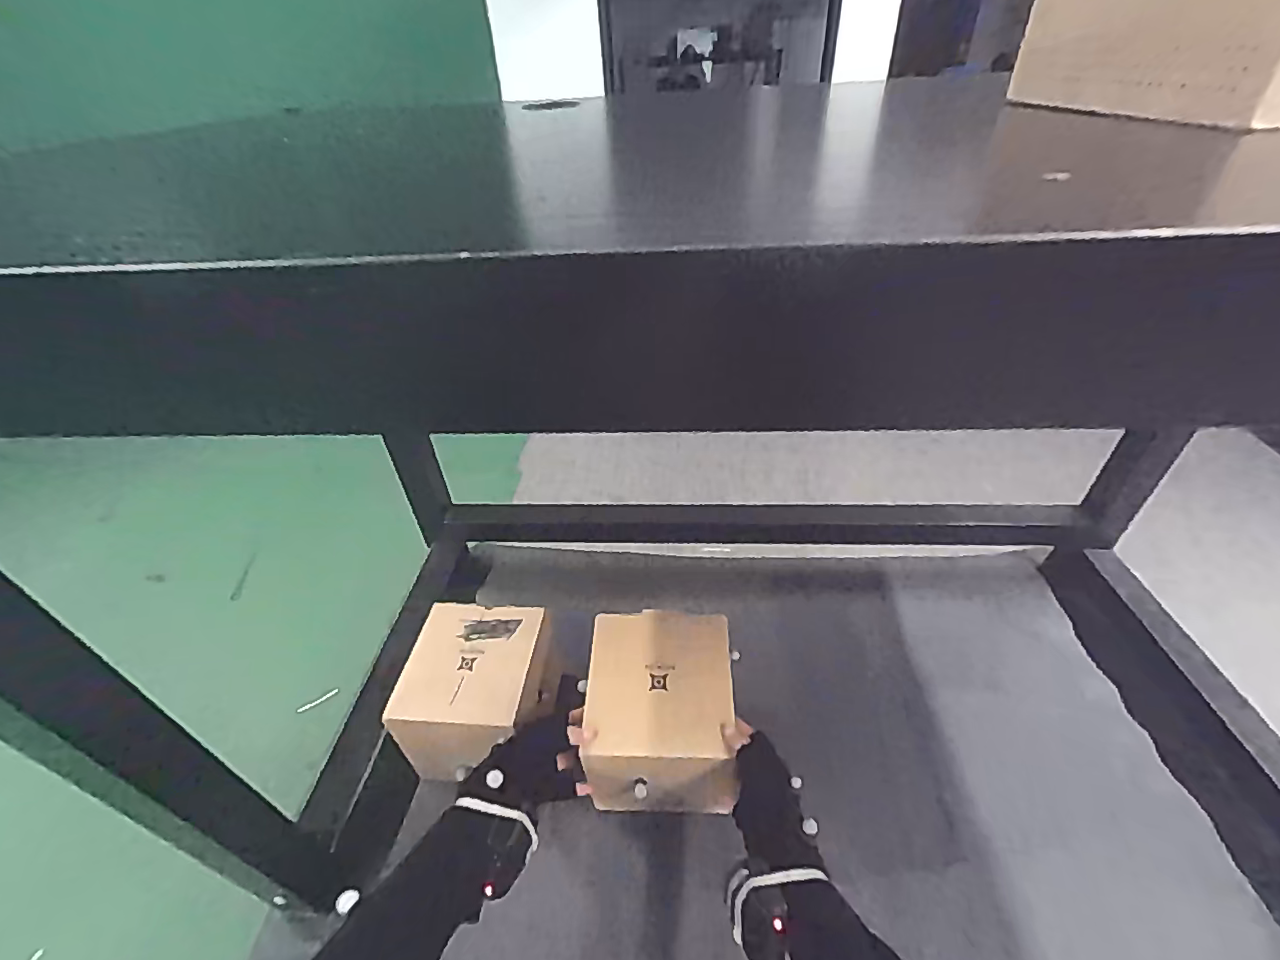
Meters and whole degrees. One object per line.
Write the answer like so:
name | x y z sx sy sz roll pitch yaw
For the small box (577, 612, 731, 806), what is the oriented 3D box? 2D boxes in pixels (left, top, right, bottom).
small box | 0.023 0.285 0.673 0.168 0.176 0.179 -1 41 3

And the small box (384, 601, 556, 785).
small box | -0.219 0.295 0.758 0.168 0.176 0.179 1 39 6
